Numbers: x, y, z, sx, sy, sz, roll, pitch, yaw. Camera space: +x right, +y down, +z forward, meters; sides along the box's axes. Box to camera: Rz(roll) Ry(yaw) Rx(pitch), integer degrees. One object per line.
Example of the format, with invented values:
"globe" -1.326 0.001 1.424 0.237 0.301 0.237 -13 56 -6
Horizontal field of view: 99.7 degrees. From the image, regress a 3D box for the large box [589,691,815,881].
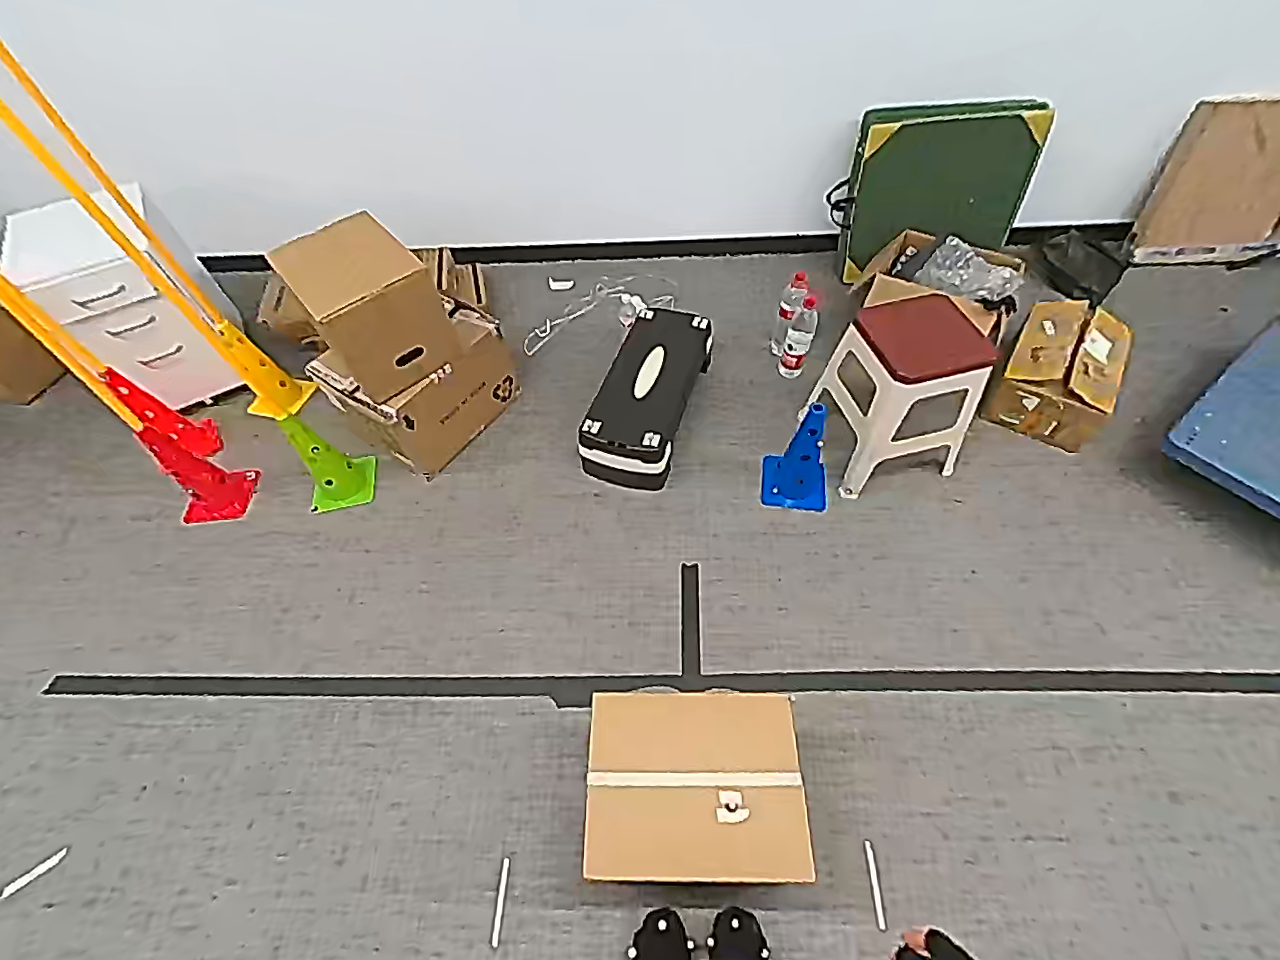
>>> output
"large box" 0.109 0.650 1.145 0.408 0.320 0.320 -1 55 1
